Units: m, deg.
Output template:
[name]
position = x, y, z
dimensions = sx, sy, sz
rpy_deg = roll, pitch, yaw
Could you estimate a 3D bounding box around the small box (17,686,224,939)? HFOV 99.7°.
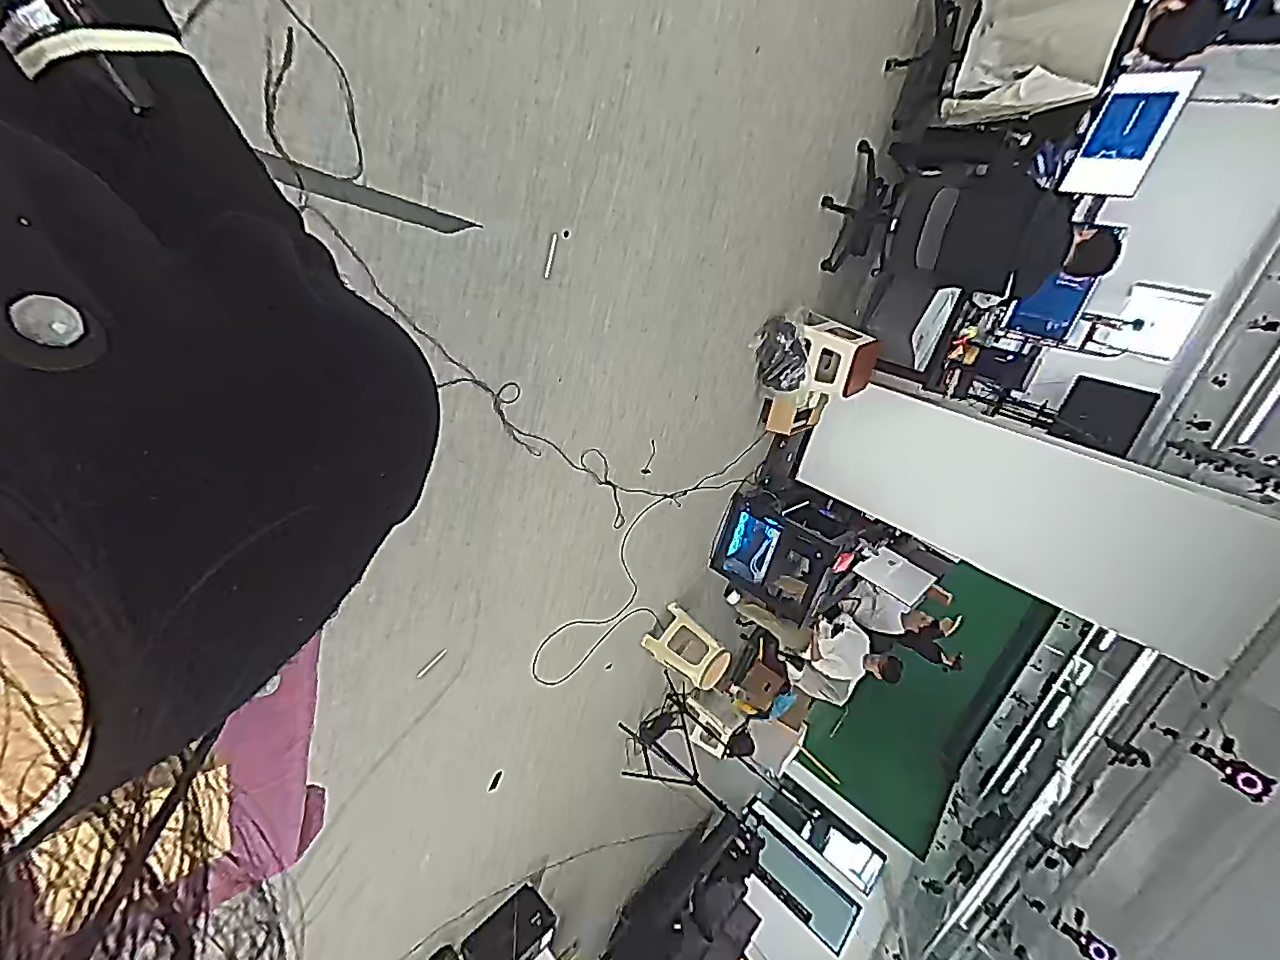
[small box]
position = -0.654, 0.405, 0.689
dimensions = 0.168, 0.176, 0.179
rpy_deg = -12, 124, -49
